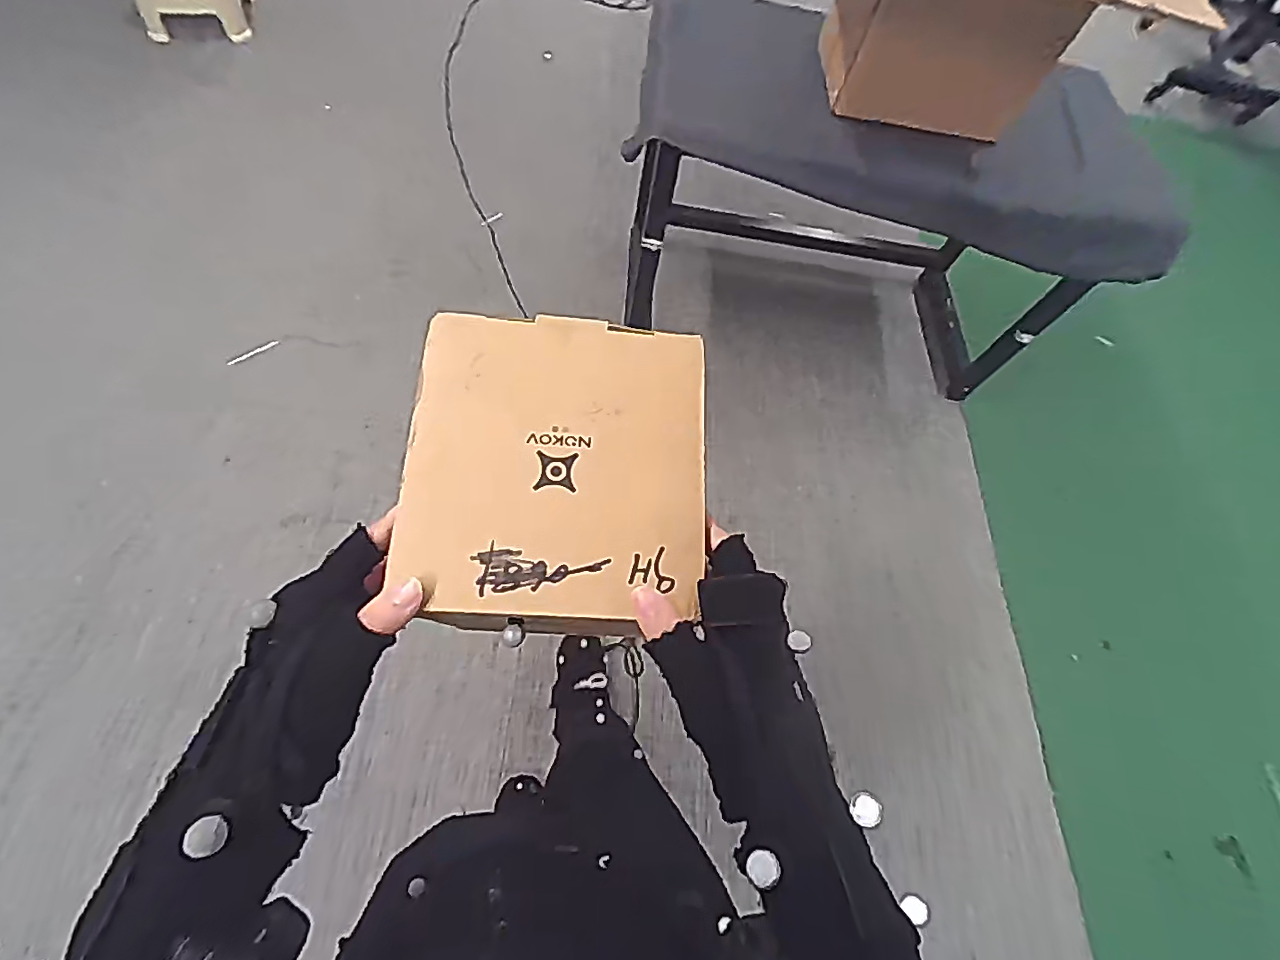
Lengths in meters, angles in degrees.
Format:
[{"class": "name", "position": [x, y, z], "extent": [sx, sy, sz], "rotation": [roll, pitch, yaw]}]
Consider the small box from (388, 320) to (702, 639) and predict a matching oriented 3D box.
[{"class": "small box", "position": [-0.053, 0.014, 0.387], "extent": [0.168, 0.176, 0.179], "rotation": [4, 70, -3]}]
